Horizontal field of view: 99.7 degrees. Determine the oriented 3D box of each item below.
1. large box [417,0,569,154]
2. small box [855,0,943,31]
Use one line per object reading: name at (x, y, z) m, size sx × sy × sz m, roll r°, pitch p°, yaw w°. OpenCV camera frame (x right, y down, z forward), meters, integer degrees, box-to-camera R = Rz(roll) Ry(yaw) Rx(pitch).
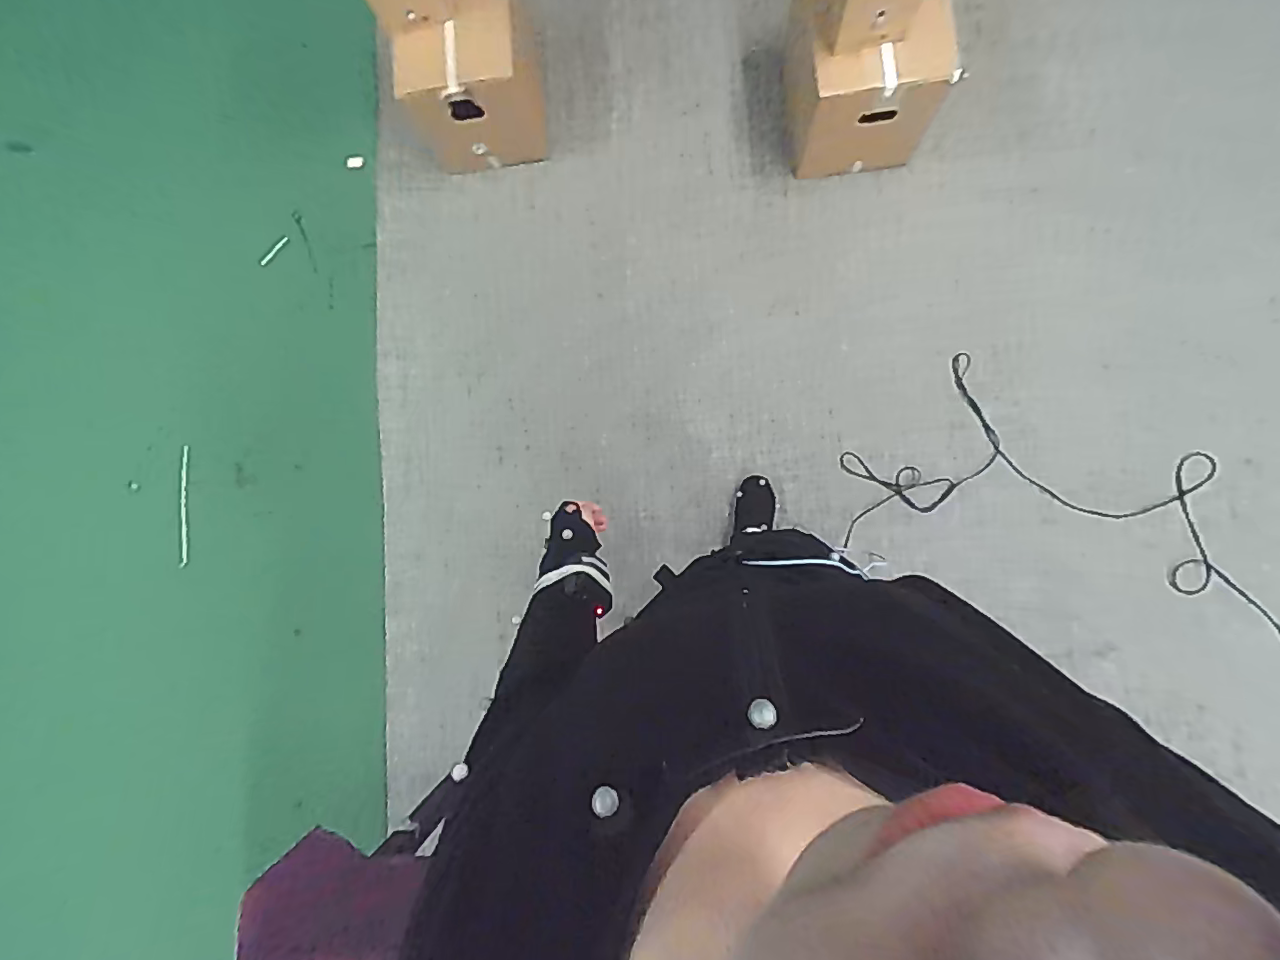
large box at (-0.392, -1.204, 1.492) m, size 0.320 × 0.320 × 0.408 m, roll -3°, pitch 86°, yaw 7°
small box at (0.552, -1.088, 1.127) m, size 0.168 × 0.176 × 0.179 m, roll -7°, pitch 87°, yaw 8°
